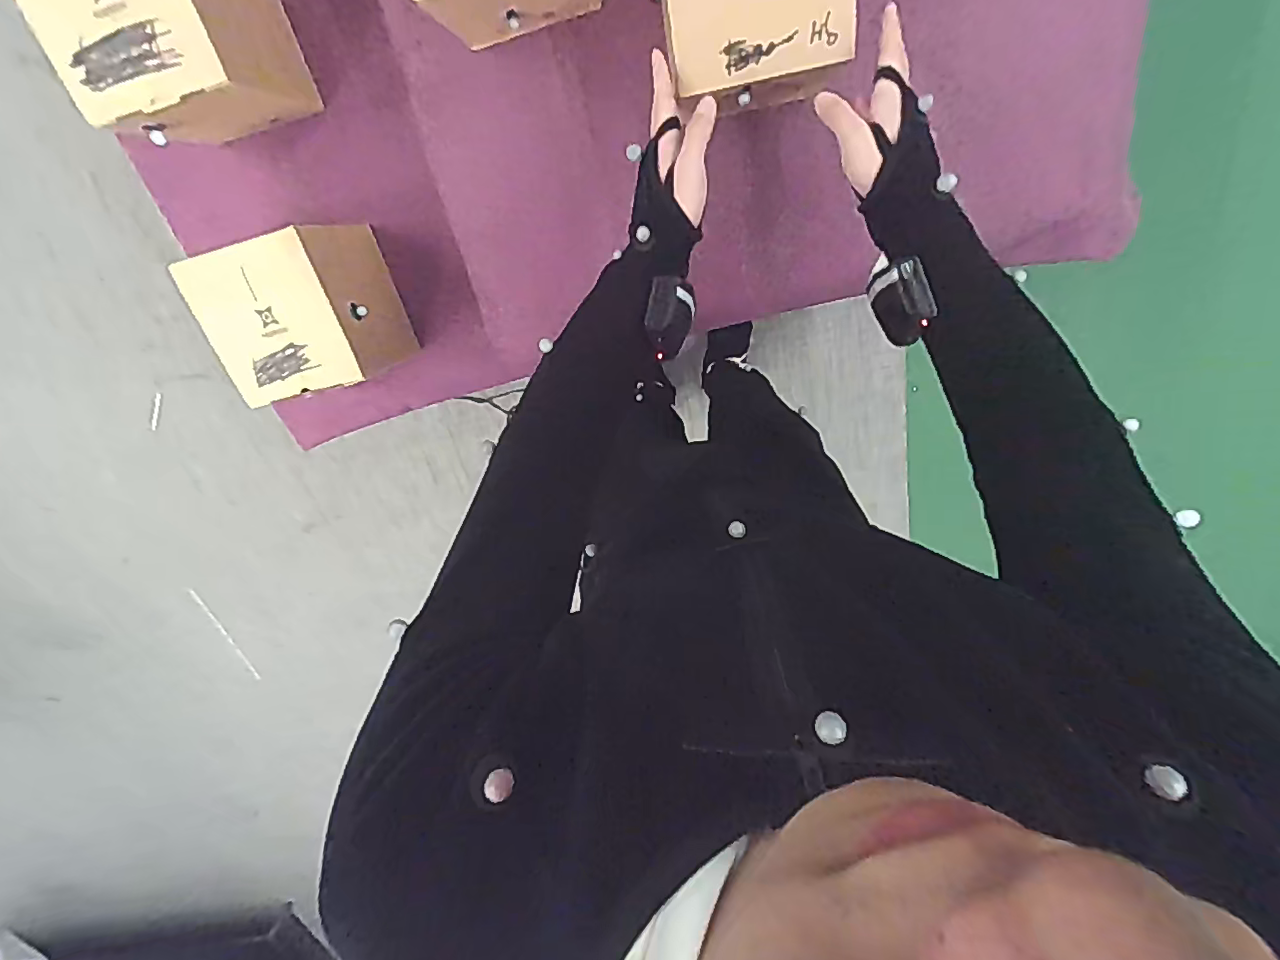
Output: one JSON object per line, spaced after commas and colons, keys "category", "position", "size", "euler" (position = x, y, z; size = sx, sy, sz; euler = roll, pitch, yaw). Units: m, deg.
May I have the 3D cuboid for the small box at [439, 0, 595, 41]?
{"category": "small box", "position": [-0.142, -0.566, 0.513], "size": [0.168, 0.176, 0.179], "euler": [-12, 116, 8]}

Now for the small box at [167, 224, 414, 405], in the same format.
{"category": "small box", "position": [-0.423, -0.218, 0.694], "size": [0.168, 0.176, 0.179], "euler": [-12, 114, 8]}

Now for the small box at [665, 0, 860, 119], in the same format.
{"category": "small box", "position": [0.110, -0.488, 0.539], "size": [0.168, 0.176, 0.179], "euler": [-8, 116, 7]}
